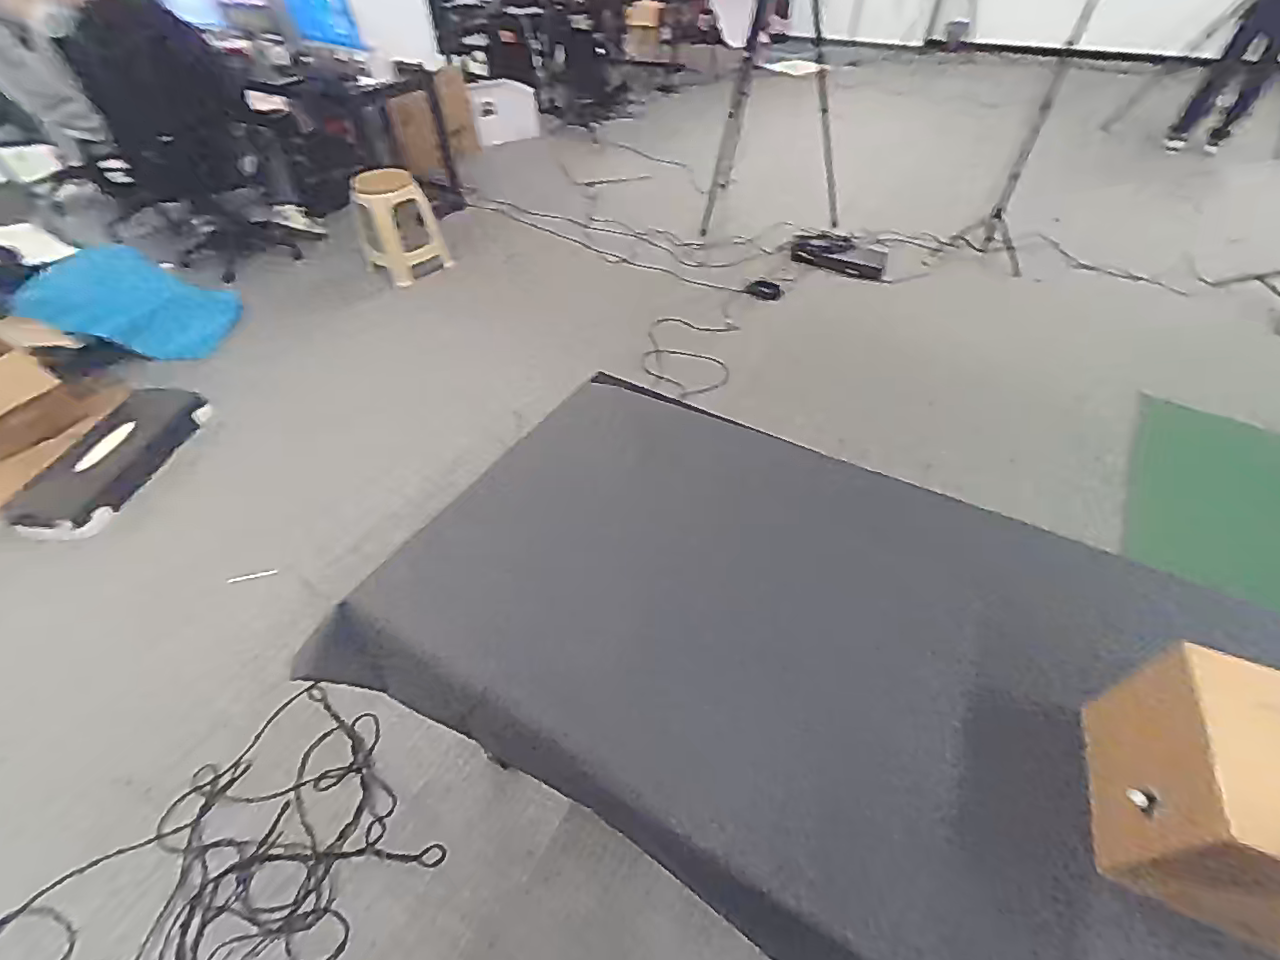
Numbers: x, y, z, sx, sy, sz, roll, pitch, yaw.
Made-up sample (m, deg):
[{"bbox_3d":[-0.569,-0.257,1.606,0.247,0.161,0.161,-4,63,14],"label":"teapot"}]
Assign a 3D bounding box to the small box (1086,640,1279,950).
[{"bbox_3d":[0.542,0.284,0.481,0.168,0.176,0.179,19,49,17],"label":"small box"}]
